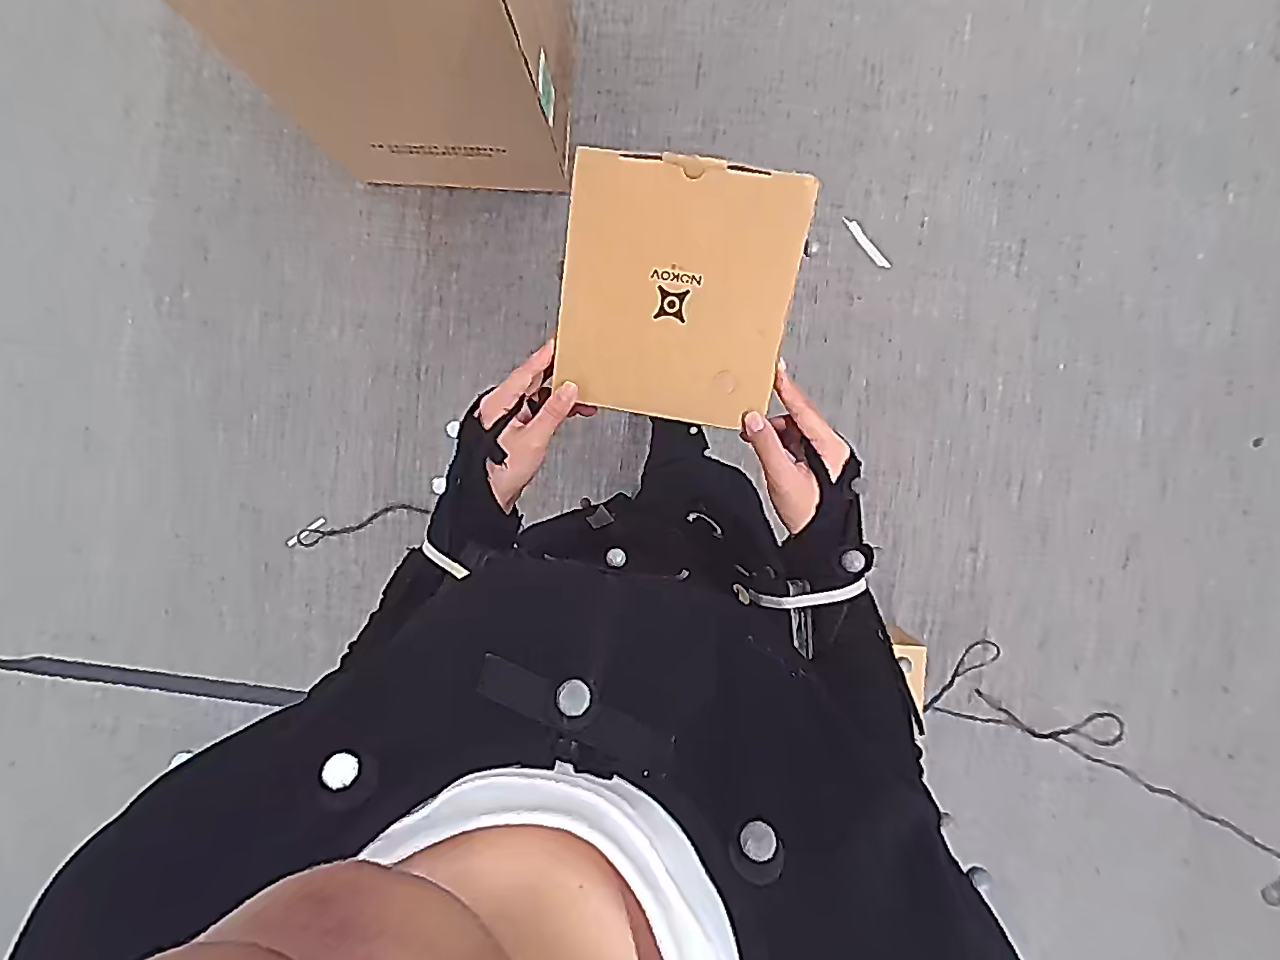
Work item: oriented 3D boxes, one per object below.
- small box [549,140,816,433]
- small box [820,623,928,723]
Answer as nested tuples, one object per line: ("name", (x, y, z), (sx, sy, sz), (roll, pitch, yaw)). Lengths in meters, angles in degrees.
("small box", (0.034, -0.151, 0.450), (0.168, 0.176, 0.179), (10, 107, 6))
("small box", (0.536, 0.440, 1.255), (0.179, 0.176, 0.168), (4, 92, 3))
